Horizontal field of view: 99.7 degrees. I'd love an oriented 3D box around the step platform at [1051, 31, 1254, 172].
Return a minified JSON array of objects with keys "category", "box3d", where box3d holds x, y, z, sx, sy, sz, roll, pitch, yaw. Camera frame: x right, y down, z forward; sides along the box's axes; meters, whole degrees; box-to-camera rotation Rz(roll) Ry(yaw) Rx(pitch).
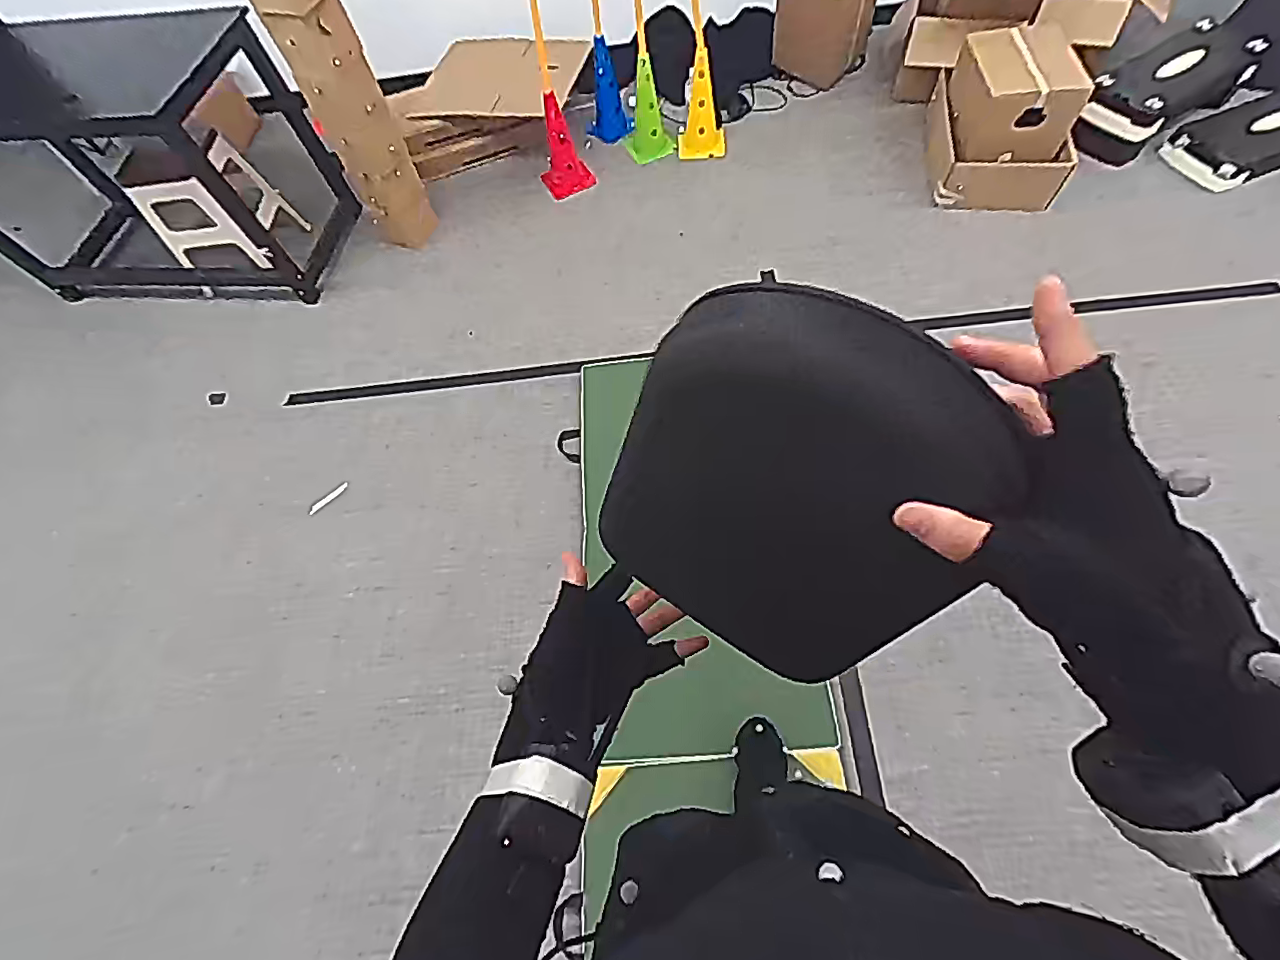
[{"category":"step platform","box3d":[1.984,-1.477,2.100,0.684,0.204,0.286,-32,64,-9]}]
